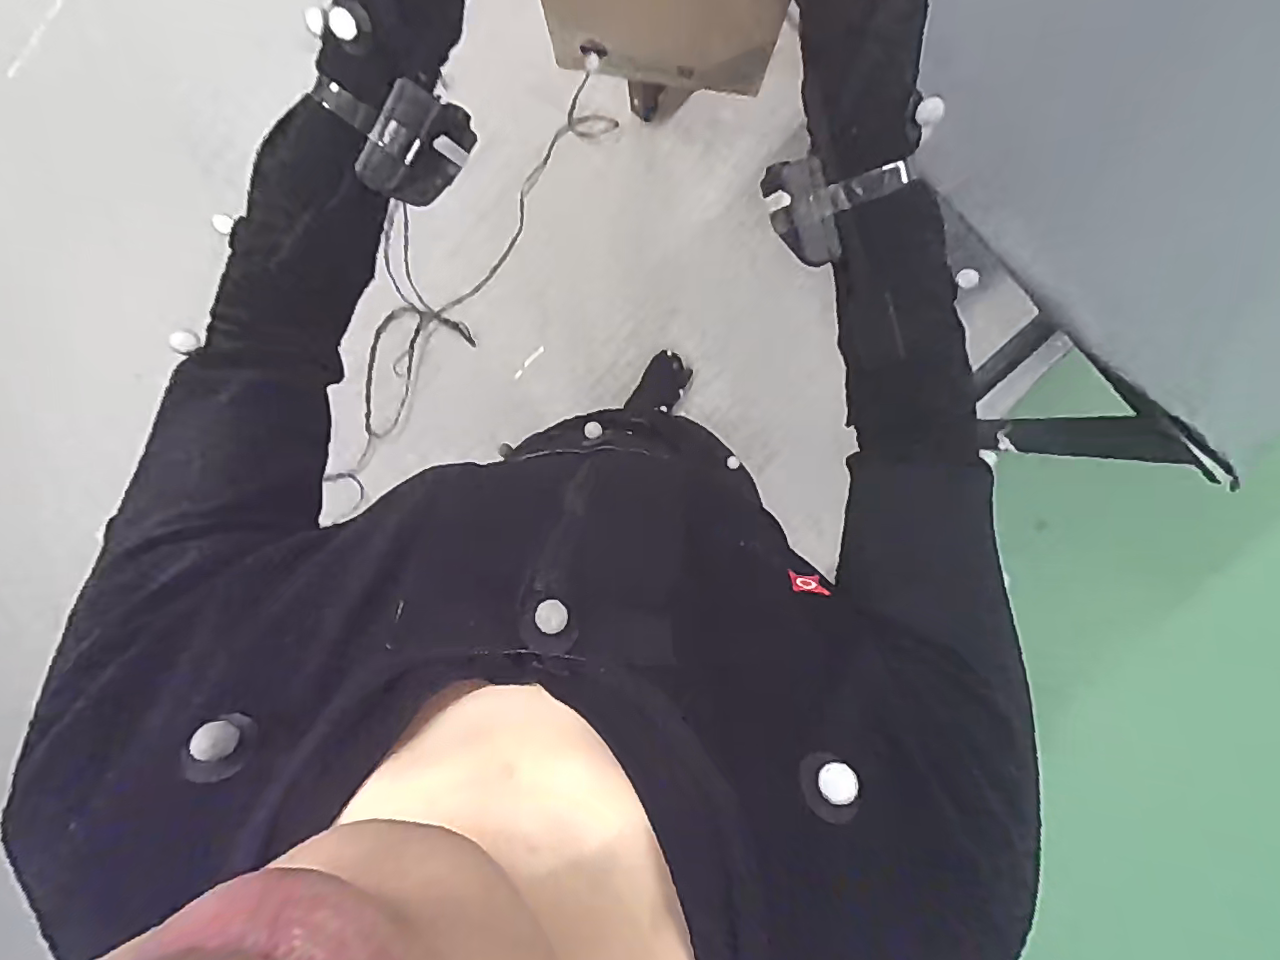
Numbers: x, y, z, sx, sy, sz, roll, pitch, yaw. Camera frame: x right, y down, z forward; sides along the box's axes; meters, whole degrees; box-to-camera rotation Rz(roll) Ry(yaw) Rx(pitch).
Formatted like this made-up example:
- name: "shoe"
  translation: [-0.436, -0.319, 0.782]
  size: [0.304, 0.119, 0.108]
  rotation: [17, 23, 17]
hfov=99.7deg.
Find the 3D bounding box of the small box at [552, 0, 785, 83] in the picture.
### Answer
- name: "small box"
  translation: [0.028, -0.401, 0.345]
  size: [0.168, 0.176, 0.179]
  rotation: [9, 96, -1]
